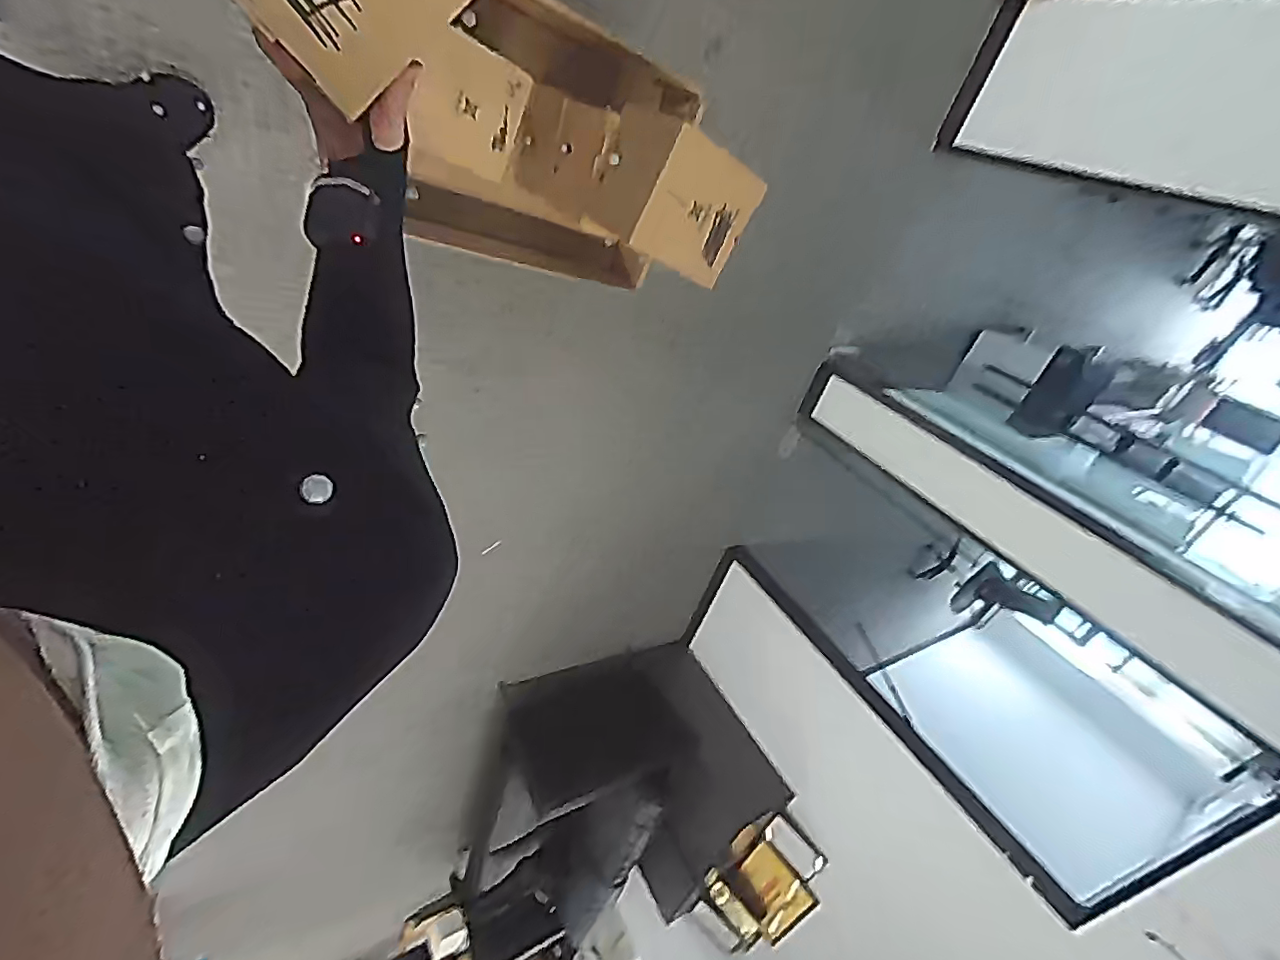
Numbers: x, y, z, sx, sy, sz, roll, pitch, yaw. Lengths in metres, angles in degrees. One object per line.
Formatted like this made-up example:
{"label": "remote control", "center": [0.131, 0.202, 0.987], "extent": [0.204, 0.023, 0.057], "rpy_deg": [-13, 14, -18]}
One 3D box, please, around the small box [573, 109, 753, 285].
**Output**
{"label": "small box", "center": [0.029, -0.430, 0.824], "extent": [0.179, 0.176, 0.168], "rpy_deg": [10, 120, -41]}

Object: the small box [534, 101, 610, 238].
{"label": "small box", "center": [-0.057, -0.522, 0.929], "extent": [0.179, 0.176, 0.168], "rpy_deg": [-1, 127, -36]}

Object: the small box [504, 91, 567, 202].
{"label": "small box", "center": [-0.136, -0.616, 1.035], "extent": [0.179, 0.176, 0.168], "rpy_deg": [-1, 125, -37]}
